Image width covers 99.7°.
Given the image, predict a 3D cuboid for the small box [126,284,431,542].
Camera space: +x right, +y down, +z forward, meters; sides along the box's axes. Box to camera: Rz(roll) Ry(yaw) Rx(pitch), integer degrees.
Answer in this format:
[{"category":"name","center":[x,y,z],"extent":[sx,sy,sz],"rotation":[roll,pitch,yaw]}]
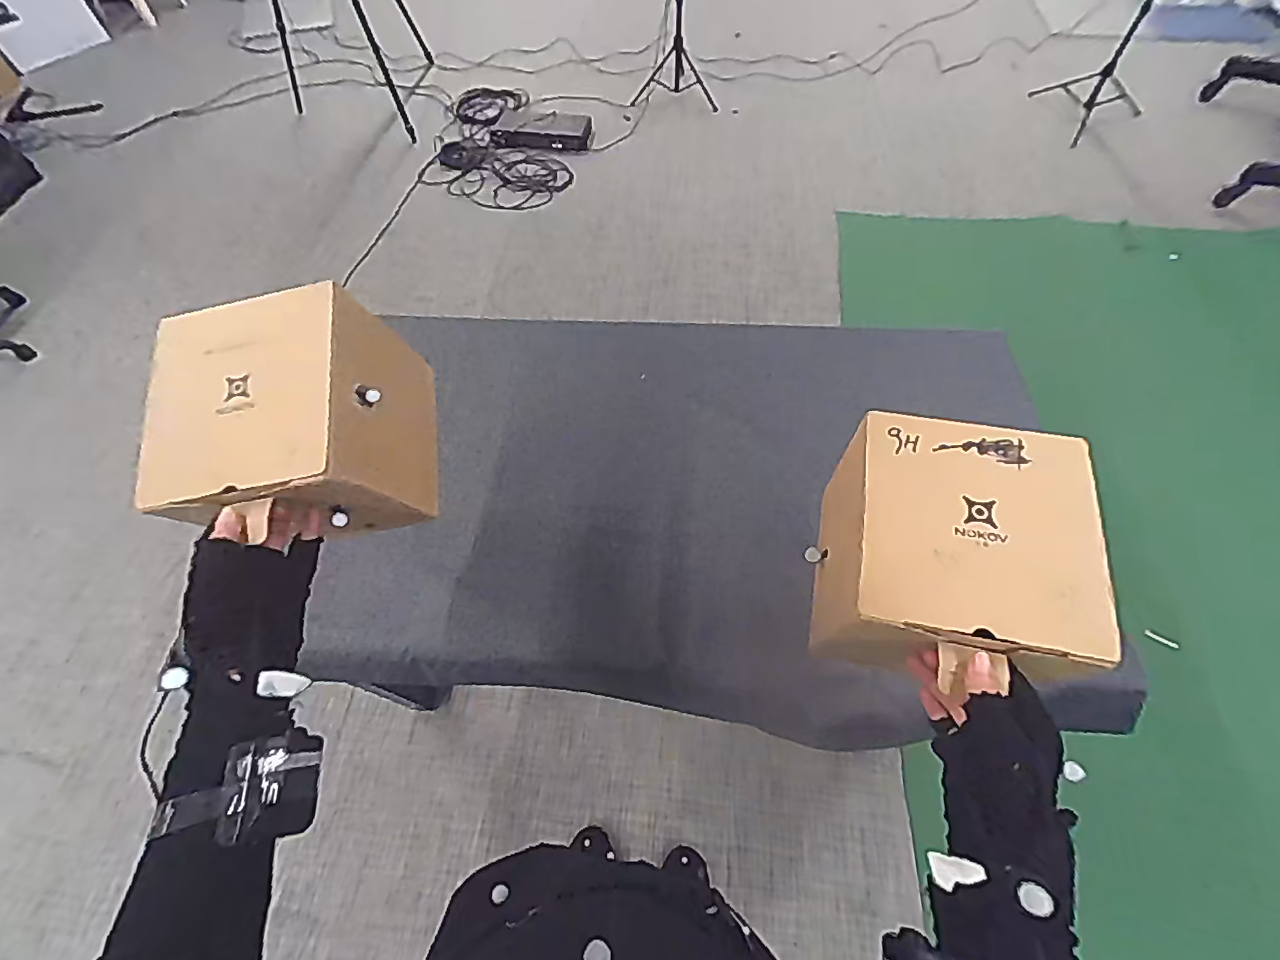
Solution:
[{"category":"small box","center":[-0.310,-0.044,0.502],"extent":[0.168,0.176,0.179],"rotation":[-10,72,5]}]

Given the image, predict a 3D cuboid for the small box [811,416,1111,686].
[{"category":"small box","center":[0.252,0.070,0.470],"extent":[0.168,0.176,0.179],"rotation":[9,66,9]}]
